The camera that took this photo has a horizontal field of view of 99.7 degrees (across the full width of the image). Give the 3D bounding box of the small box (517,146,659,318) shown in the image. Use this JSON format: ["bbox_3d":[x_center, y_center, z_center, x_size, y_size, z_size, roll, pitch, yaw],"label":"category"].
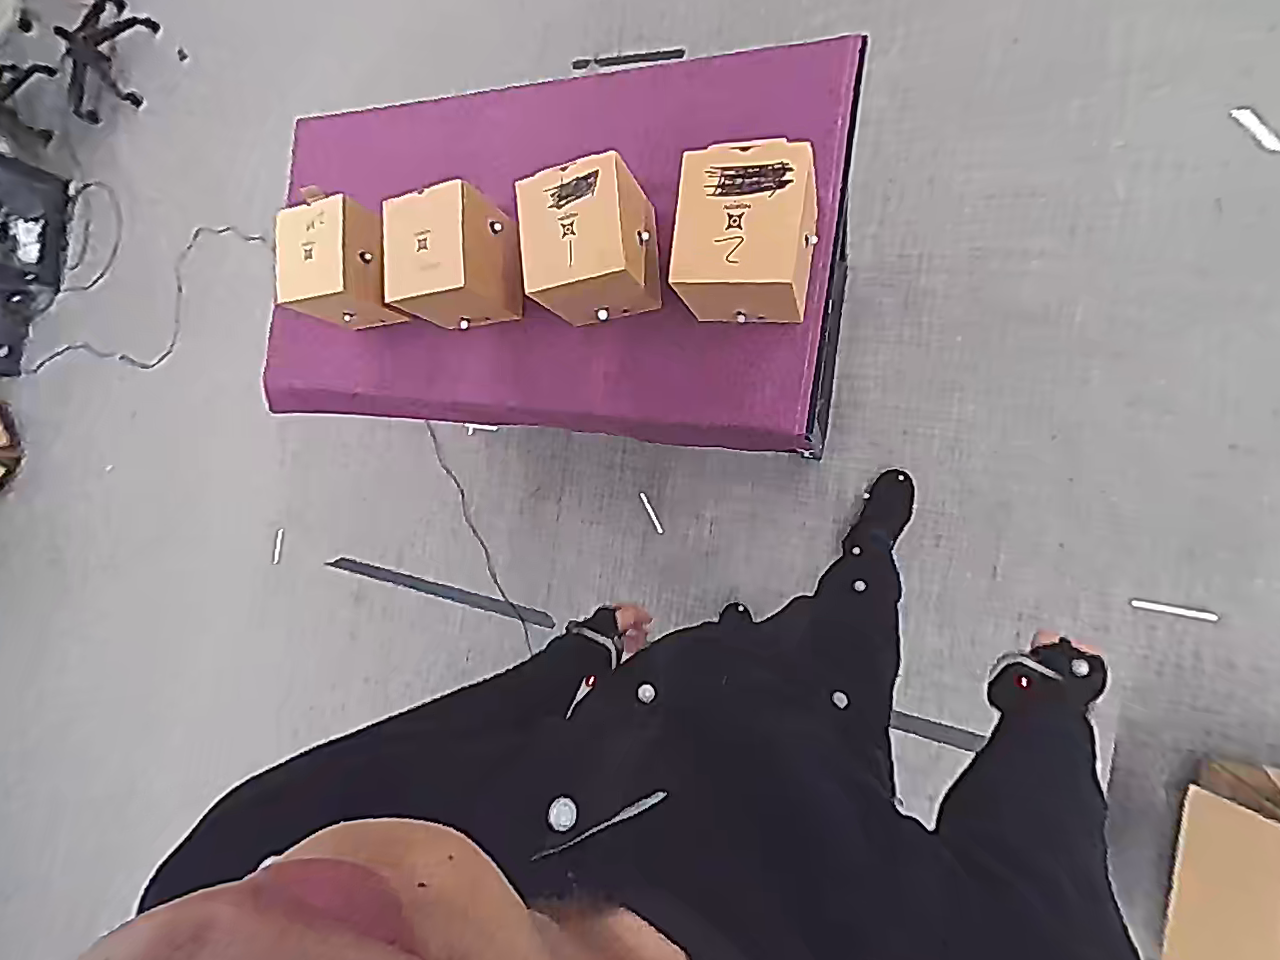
[{"bbox_3d":[-0.076,-0.377,0.855,0.168,0.176,0.179,-5,87,20],"label":"small box"}]

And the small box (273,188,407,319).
[{"bbox_3d":[-0.563,-0.418,1.033,0.168,0.176,0.179,-1,88,19],"label":"small box"}]

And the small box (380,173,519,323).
[{"bbox_3d":[-0.326,-0.393,0.948,0.168,0.176,0.179,-2,88,20],"label":"small box"}]
